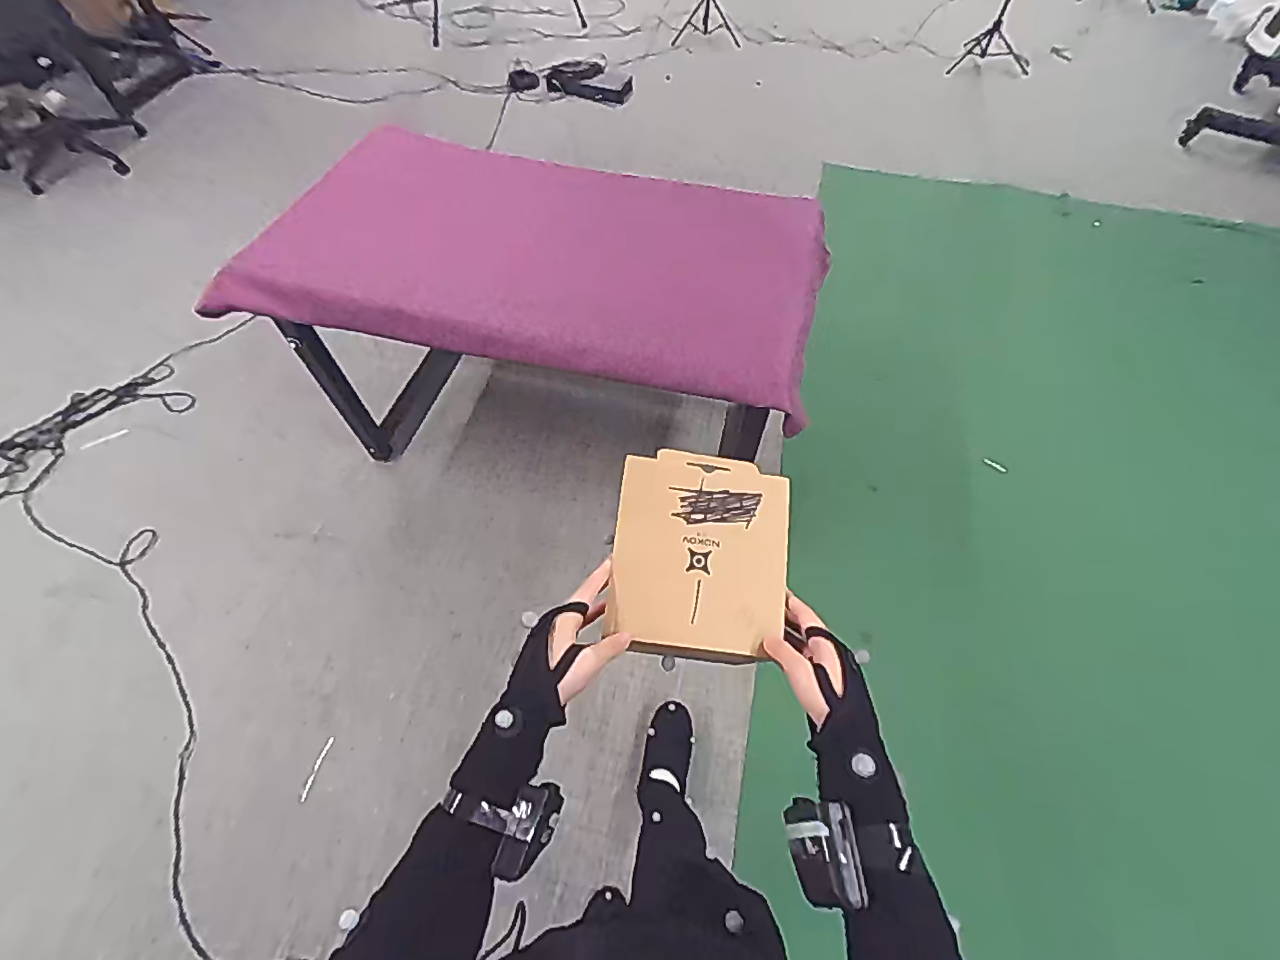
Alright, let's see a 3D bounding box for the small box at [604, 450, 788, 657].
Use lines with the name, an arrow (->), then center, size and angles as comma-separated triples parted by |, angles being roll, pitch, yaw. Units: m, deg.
small box -> 0.052, 0.089, 0.588 | 0.168, 0.176, 0.179 | 8, 70, -1
